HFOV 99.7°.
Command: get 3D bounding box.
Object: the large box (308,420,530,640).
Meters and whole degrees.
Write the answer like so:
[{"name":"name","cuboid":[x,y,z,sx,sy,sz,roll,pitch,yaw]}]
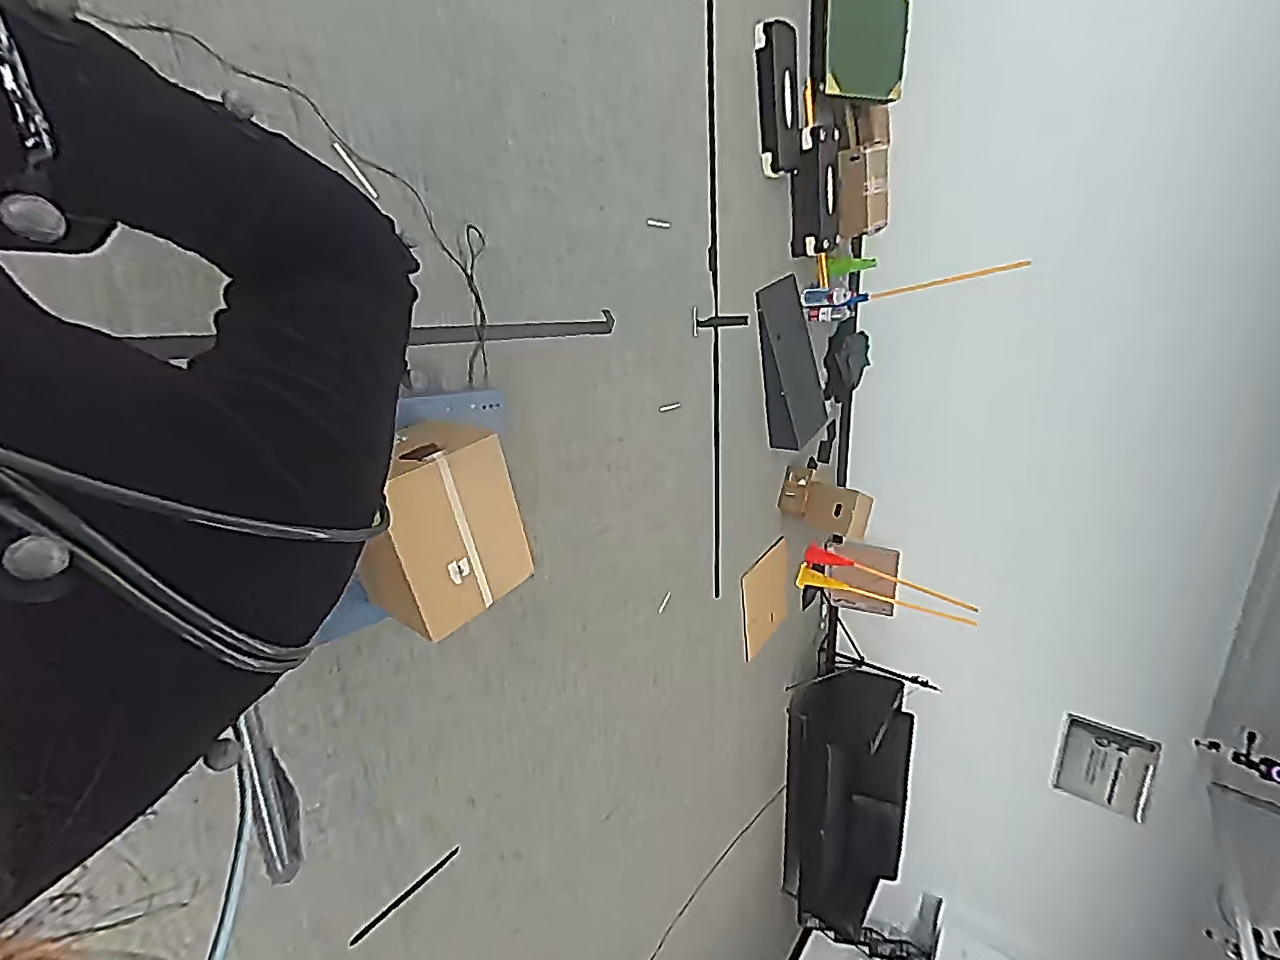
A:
[{"name":"large box","cuboid":[-0.527,0.101,1.325,0.320,0.320,0.408,-33,125,-42]}]
